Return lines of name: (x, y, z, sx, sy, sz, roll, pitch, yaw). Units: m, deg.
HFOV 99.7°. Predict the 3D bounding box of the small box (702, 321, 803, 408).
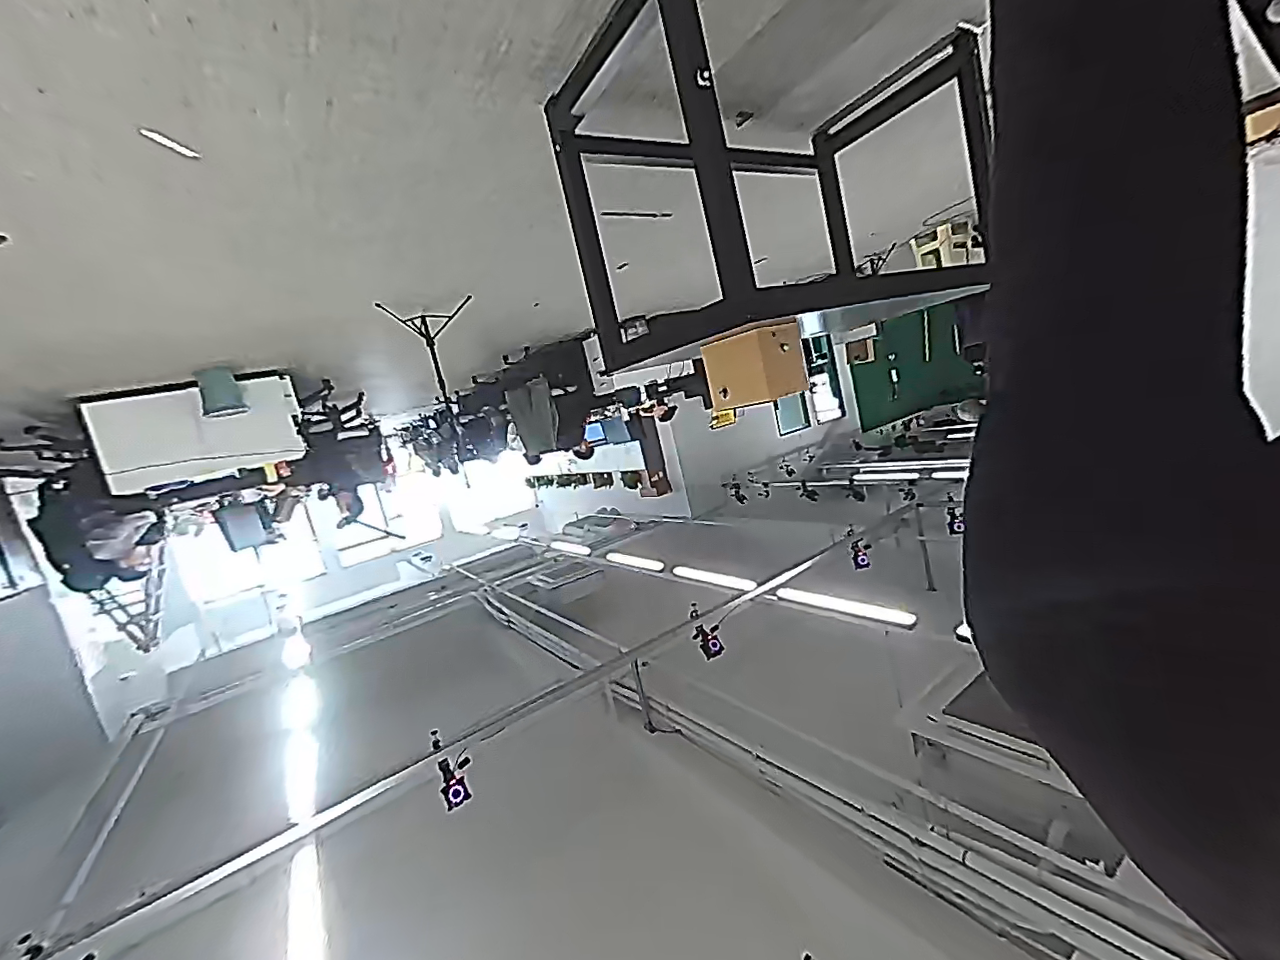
small box: (0.267, -0.280, 1.309, 0.168, 0.176, 0.179, -21, -169, -39)
